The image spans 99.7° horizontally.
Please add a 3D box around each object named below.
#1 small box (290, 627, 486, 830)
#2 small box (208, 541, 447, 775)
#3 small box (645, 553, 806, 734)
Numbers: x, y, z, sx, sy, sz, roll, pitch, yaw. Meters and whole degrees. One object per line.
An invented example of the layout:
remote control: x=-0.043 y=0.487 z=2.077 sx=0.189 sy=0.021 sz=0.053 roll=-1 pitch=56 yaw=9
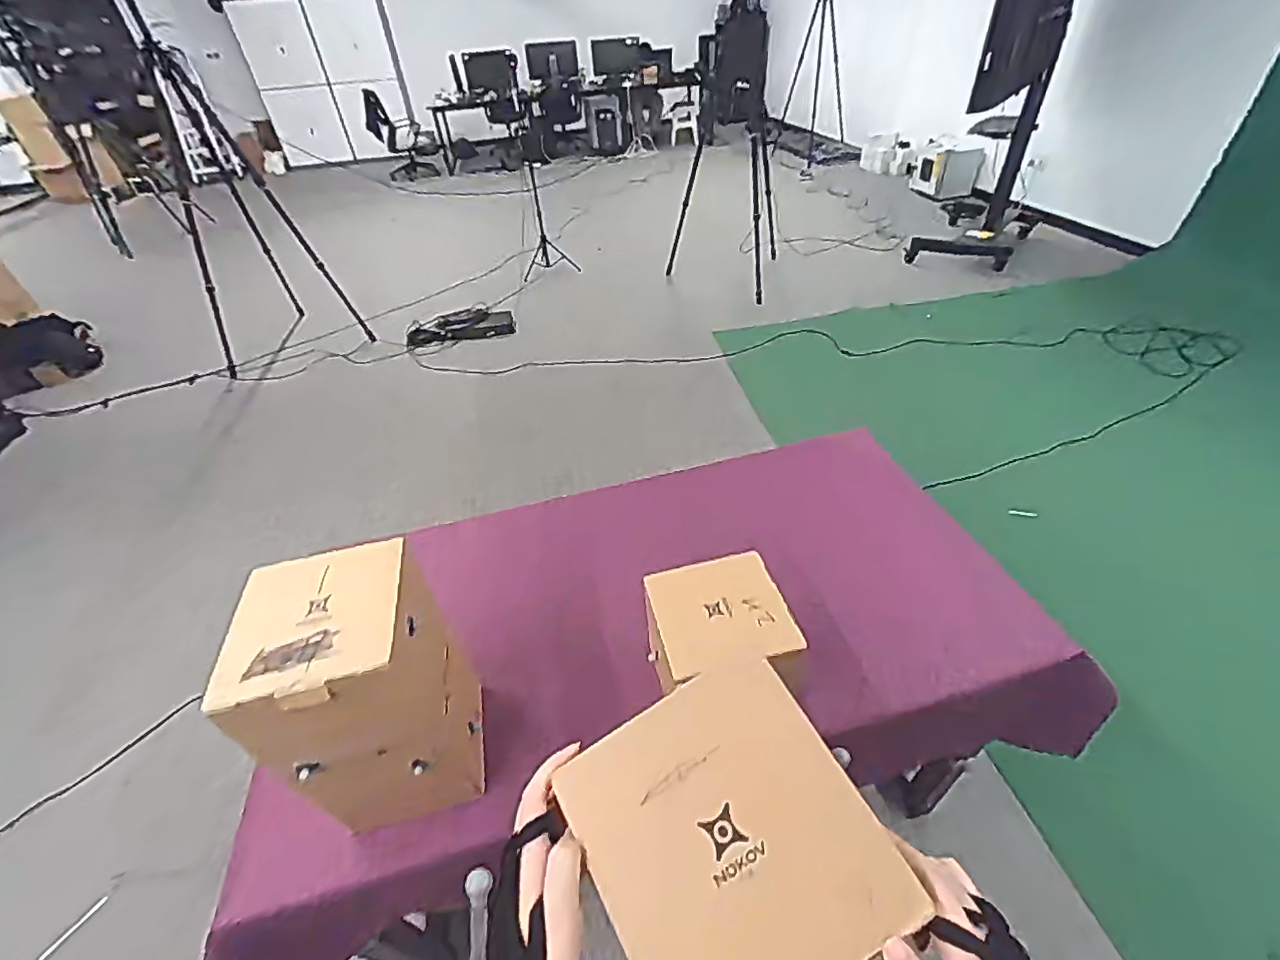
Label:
small box: x=-0.313 y=0.327 z=0.711 sx=0.179 sy=0.176 sz=0.168 roll=-12 pitch=42 yaw=-9
small box: x=-0.322 y=0.201 z=0.605 sx=0.168 sy=0.176 sz=0.179 roll=-12 pitch=40 yaw=-9
small box: x=0.114 y=0.234 z=0.771 sx=0.179 sy=0.176 sz=0.168 roll=-11 pitch=42 yaw=-7
